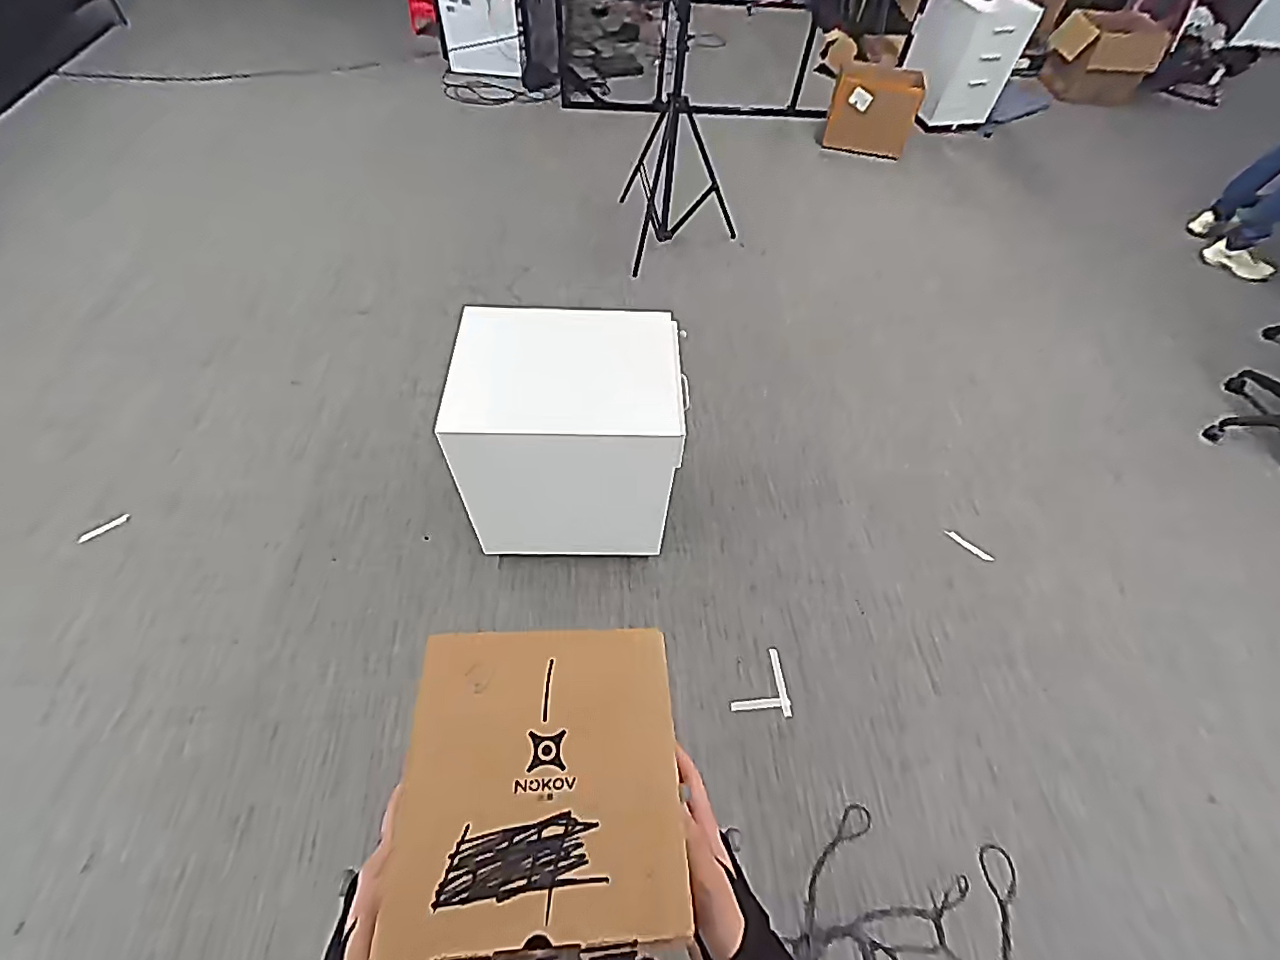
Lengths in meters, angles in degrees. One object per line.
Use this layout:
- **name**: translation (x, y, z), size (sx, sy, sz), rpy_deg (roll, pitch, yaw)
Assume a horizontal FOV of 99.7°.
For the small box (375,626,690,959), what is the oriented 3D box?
- **small box**: translation (-0.065, 0.223, 0.390), size (0.168, 0.176, 0.179), rpy_deg (0, 50, -7)
